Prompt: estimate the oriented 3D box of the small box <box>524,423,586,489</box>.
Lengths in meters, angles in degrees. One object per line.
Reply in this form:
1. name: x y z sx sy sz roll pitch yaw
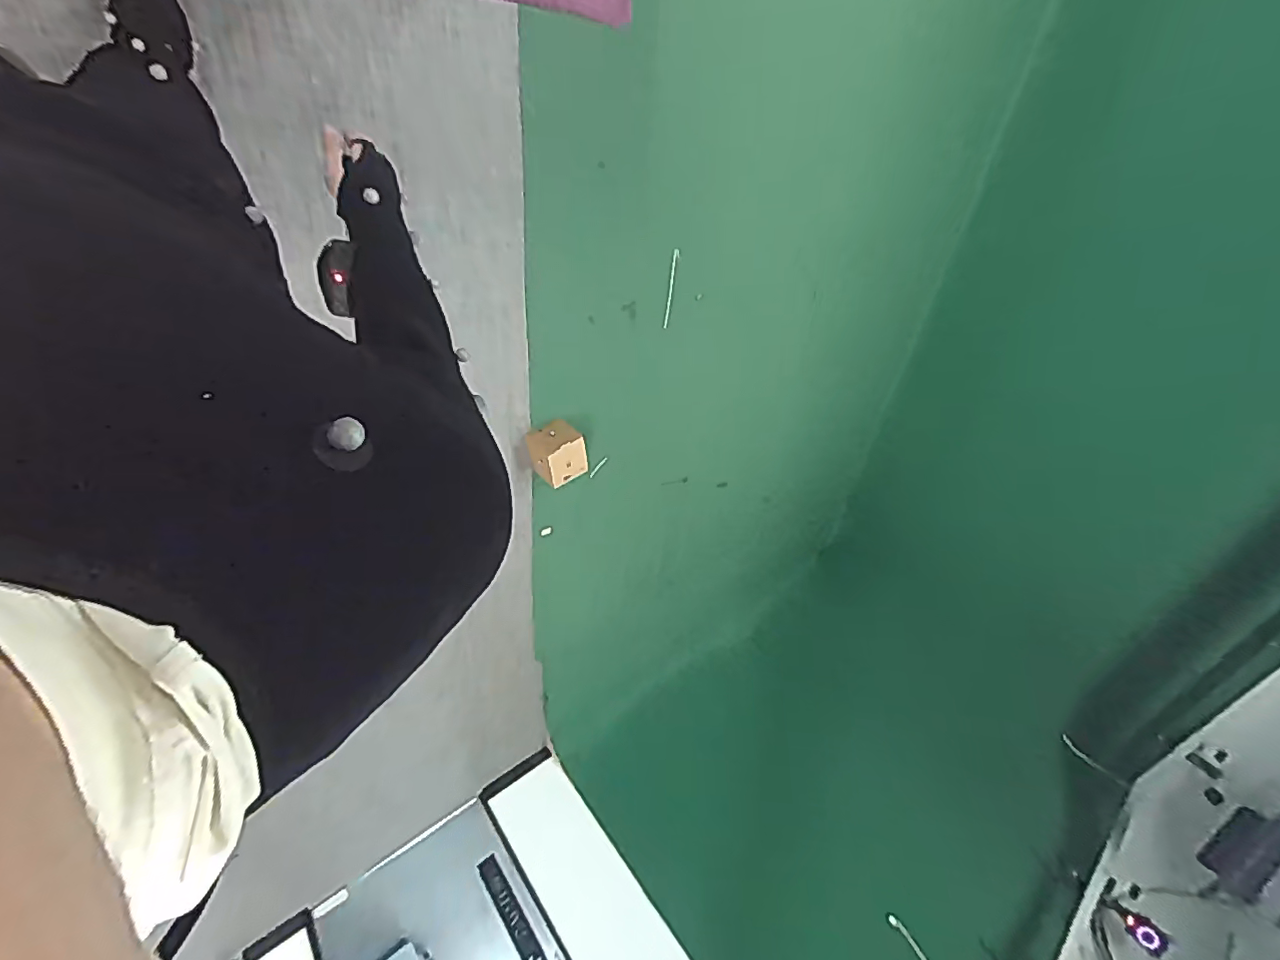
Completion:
1. small box: -0.336 -0.104 2.121 0.168 0.176 0.179 -30 138 -26
